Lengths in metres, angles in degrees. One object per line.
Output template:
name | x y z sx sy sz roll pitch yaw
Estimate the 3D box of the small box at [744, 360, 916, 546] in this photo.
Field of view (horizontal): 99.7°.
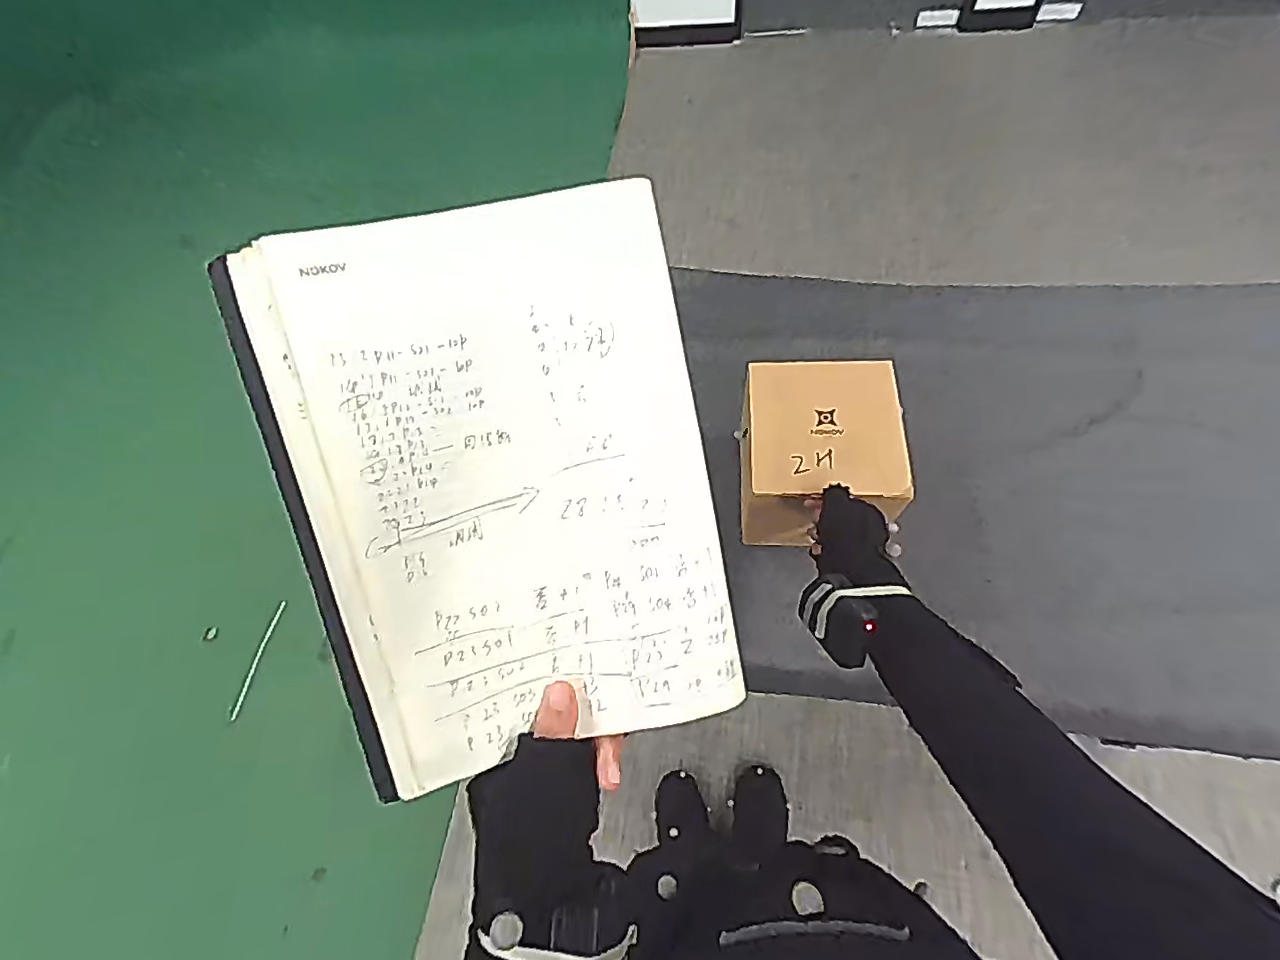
small box | 0.218 -0.029 0.674 0.168 0.176 0.179 0 65 8
